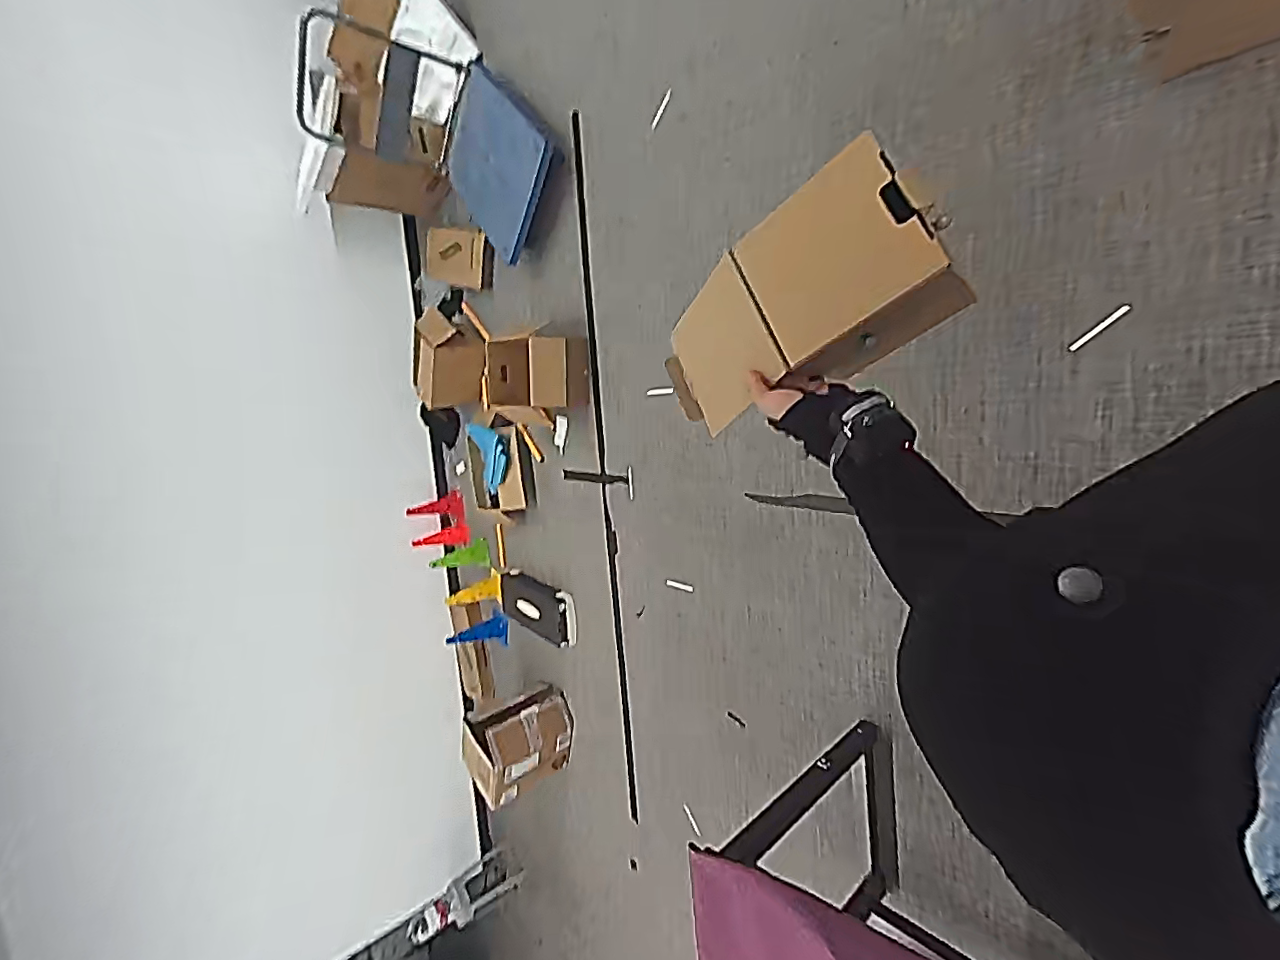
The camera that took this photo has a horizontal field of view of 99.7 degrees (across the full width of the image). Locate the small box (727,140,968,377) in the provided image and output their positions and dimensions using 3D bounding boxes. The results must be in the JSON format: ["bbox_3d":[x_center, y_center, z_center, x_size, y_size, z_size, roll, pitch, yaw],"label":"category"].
[{"bbox_3d":[0.240,-0.232,0.623,0.179,0.176,0.168,-34,73,37],"label":"small box"}]
